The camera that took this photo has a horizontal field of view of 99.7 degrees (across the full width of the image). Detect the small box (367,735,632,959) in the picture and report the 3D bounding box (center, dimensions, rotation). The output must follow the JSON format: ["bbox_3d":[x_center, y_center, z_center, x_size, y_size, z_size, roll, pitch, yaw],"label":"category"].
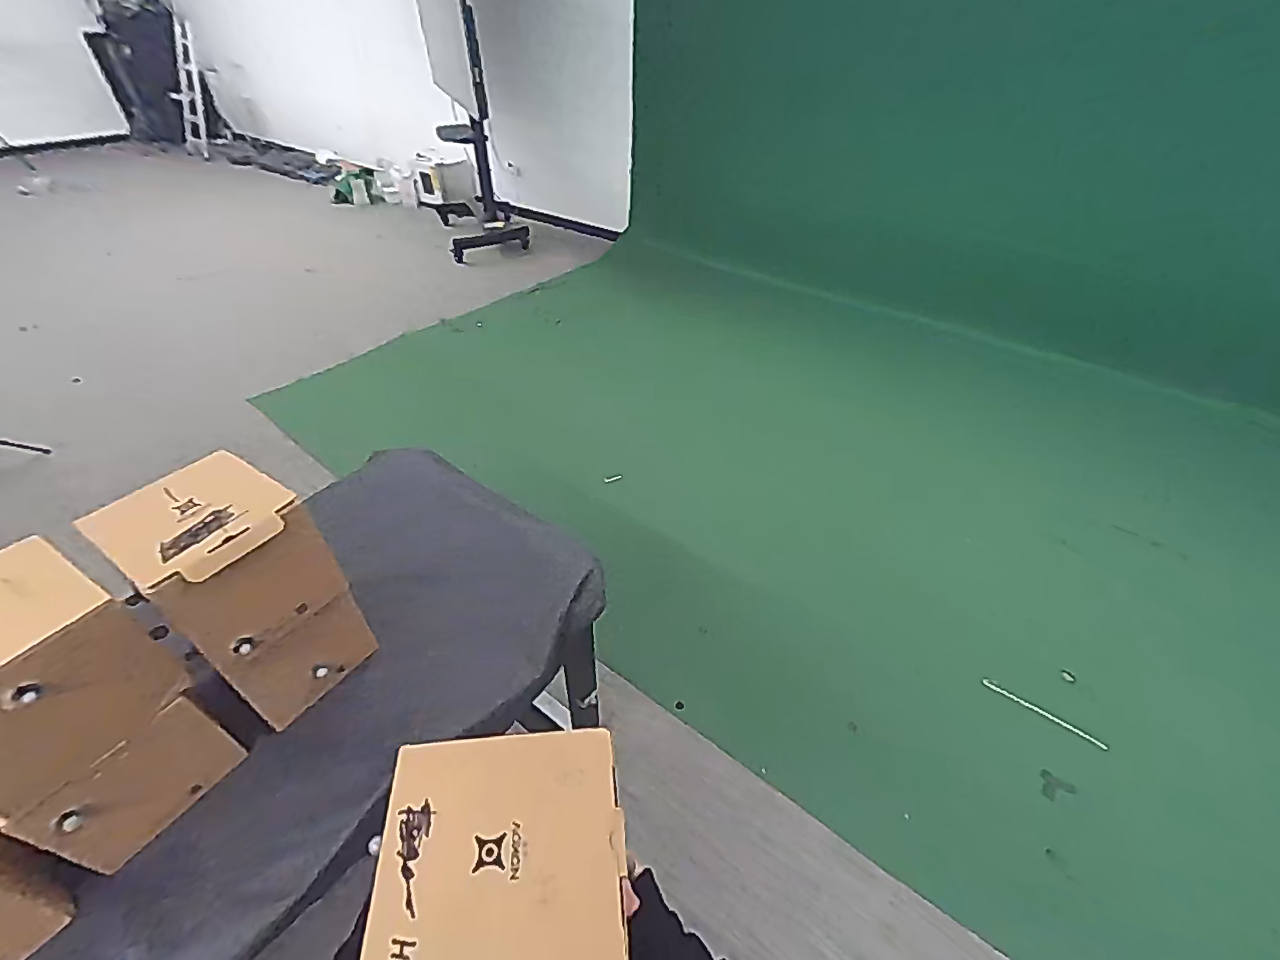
[{"bbox_3d":[-0.105,0.333,0.457,0.179,0.176,0.168,0,45,-7],"label":"small box"}]
